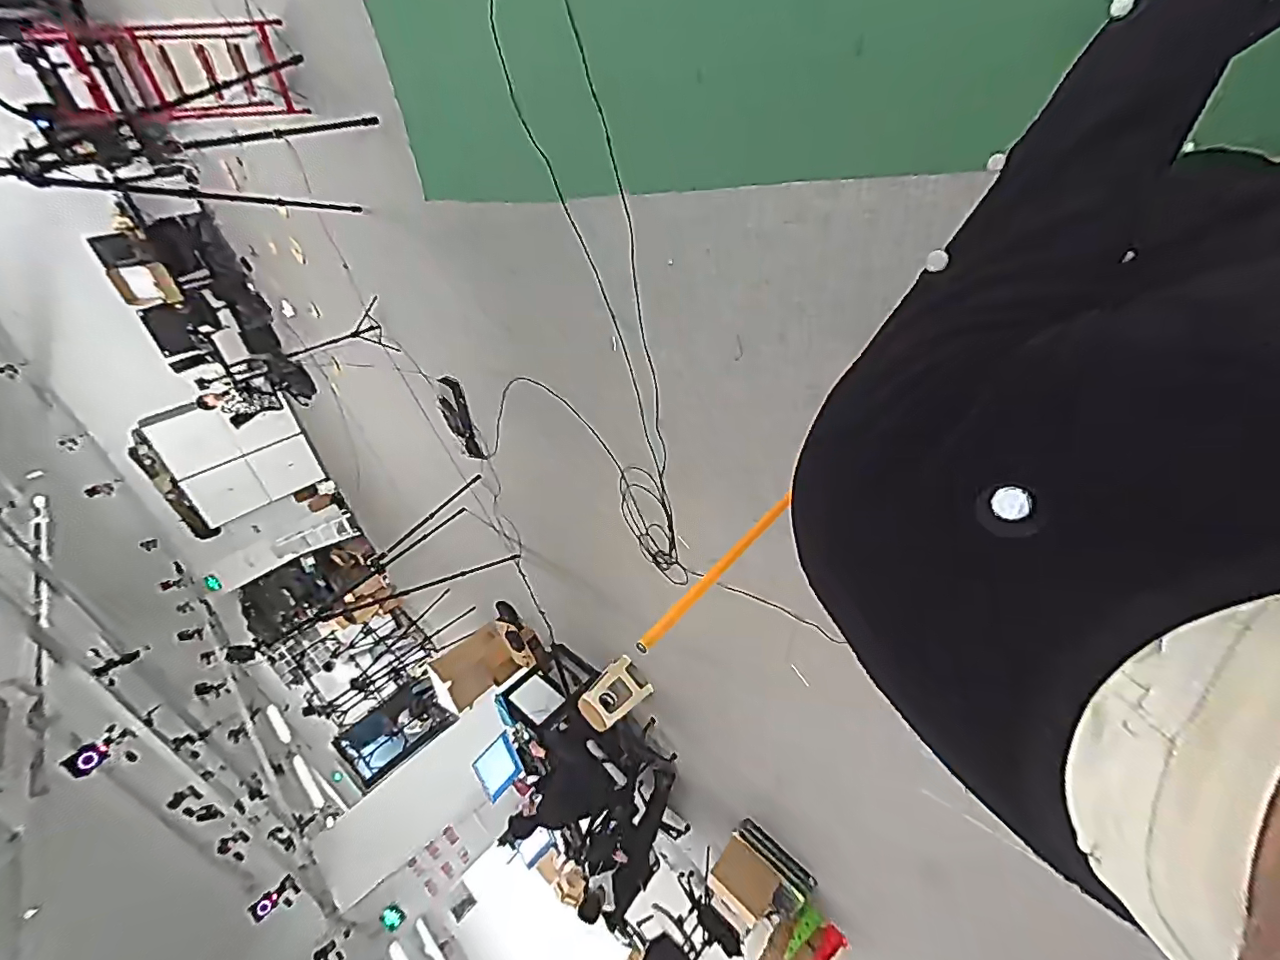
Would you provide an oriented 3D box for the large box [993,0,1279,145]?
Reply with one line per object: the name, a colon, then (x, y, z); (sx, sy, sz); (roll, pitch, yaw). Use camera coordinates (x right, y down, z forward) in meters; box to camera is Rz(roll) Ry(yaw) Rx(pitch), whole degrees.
large box: (0.433, -0.333, 0.179); (0.408, 0.320, 0.320); (0, 107, 4)
